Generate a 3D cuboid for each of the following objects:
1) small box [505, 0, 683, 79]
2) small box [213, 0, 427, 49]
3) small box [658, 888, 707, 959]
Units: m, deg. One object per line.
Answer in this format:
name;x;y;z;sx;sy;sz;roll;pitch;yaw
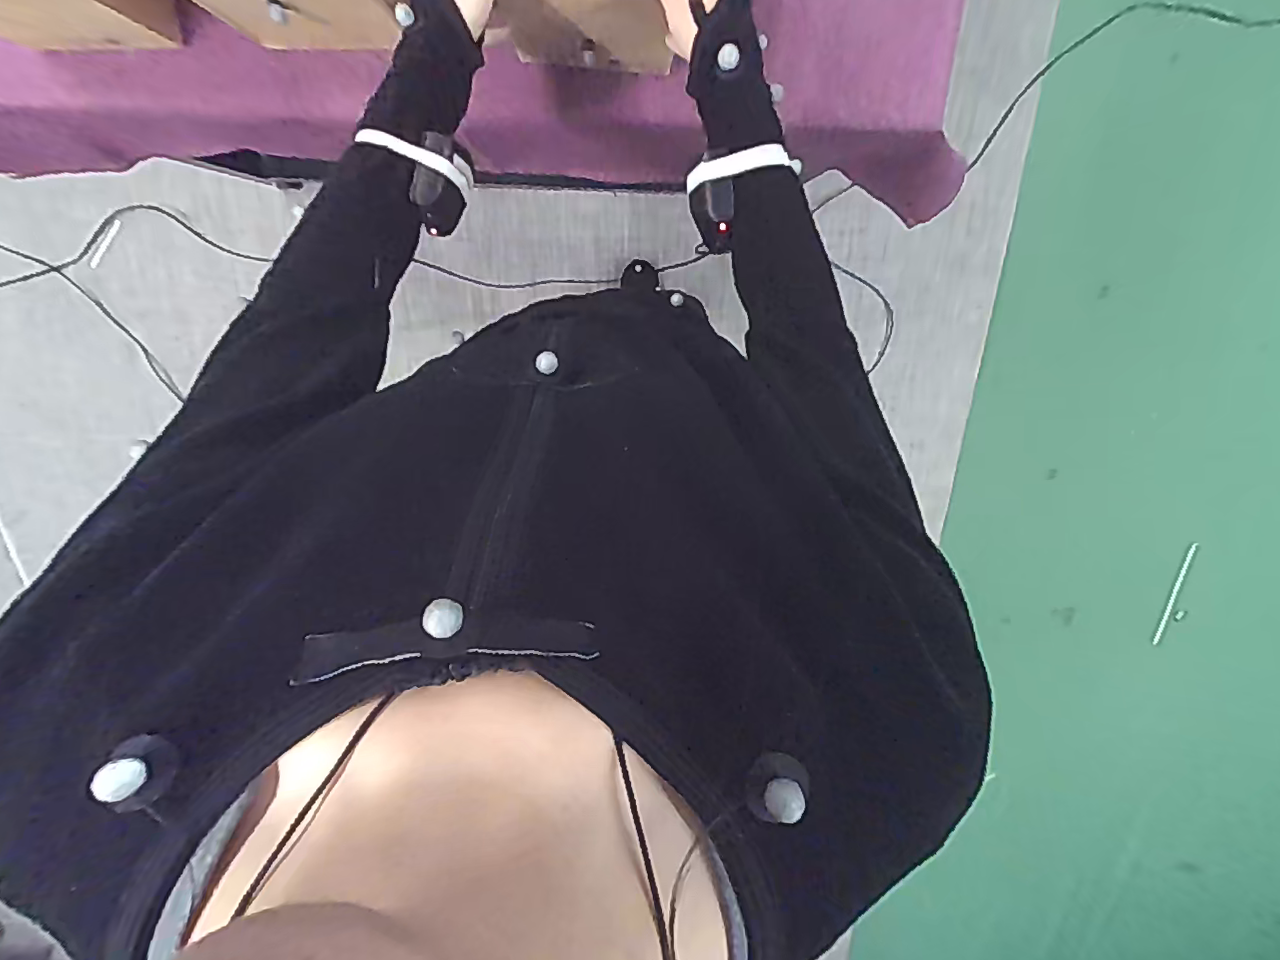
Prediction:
small box;-0.039;-0.505;0.487;0.168;0.176;0.179;5;107;-2
small box;-0.316;-0.518;0.486;0.179;0.176;0.168;0;110;0
small box;0.153;1.642;1.990;0.168;0.176;0.179;0;109;0
